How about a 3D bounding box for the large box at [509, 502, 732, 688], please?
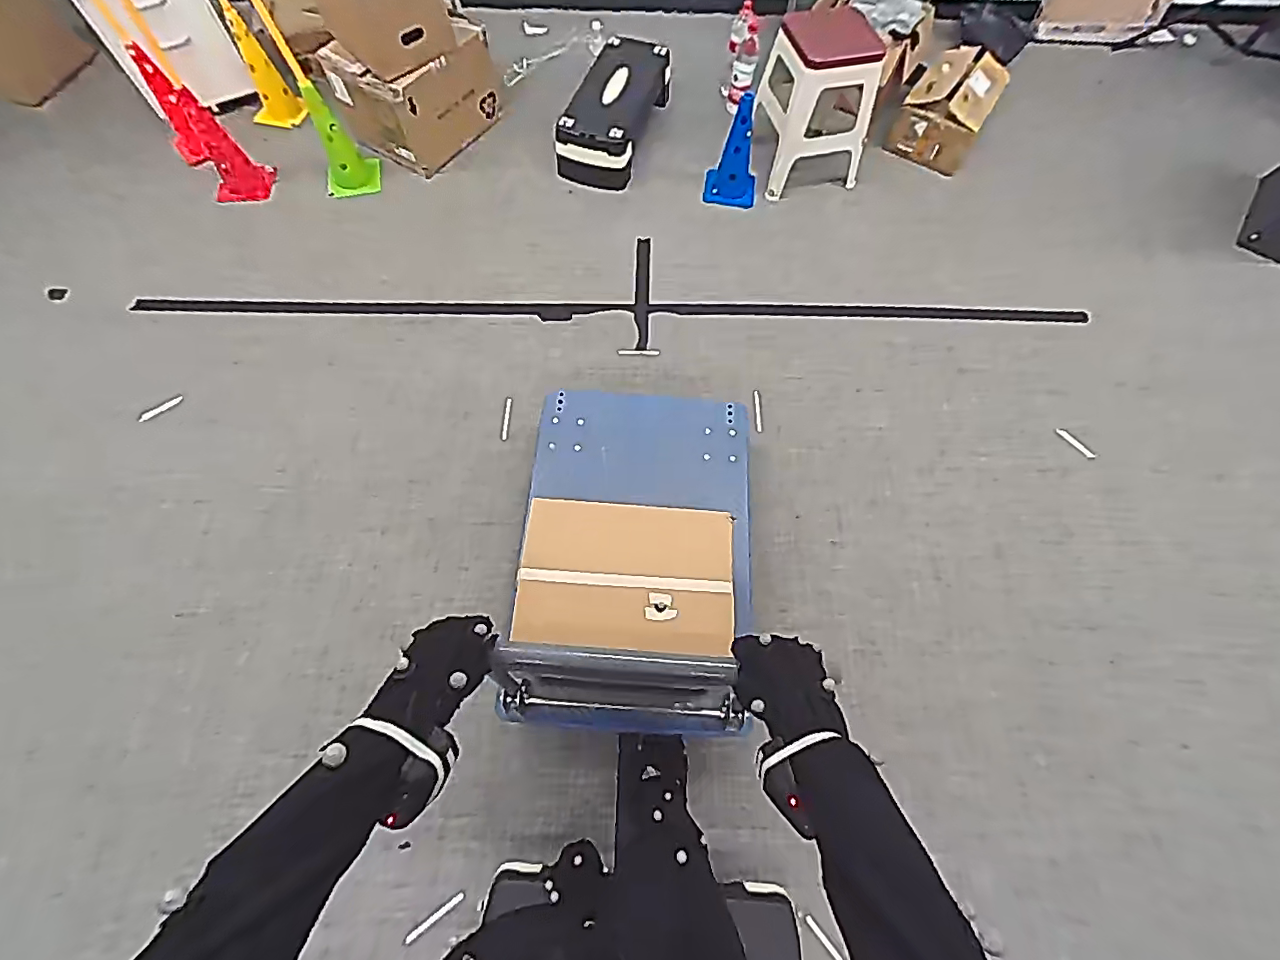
[{"bbox_3d":[-0.035,0.258,1.147,0.408,0.320,0.320,5,65,-1],"label":"large box"}]
